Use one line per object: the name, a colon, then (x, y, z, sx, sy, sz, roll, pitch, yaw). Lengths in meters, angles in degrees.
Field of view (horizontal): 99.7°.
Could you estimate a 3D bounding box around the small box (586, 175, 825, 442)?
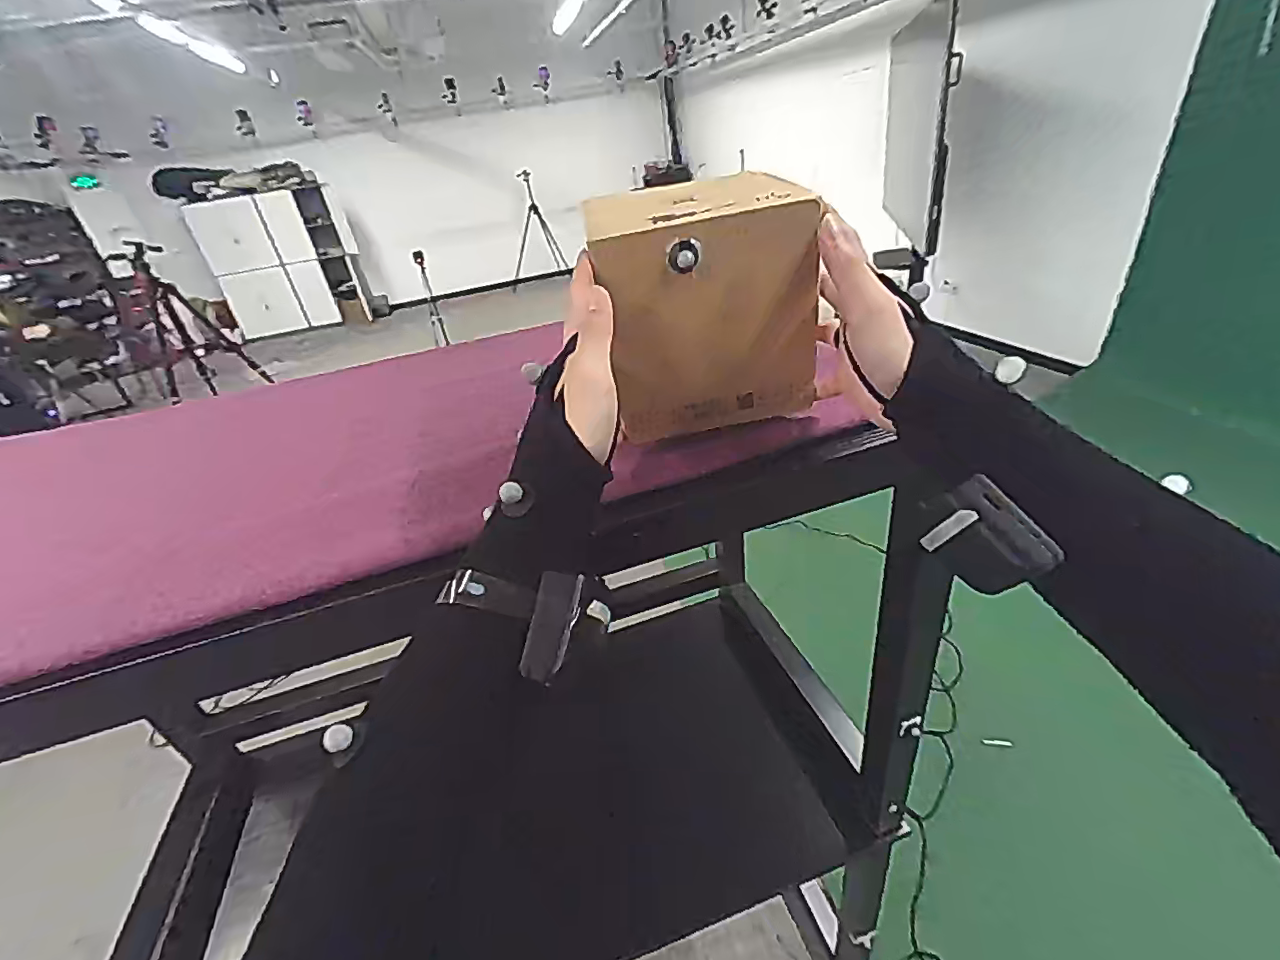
small box: (0.049, -0.156, 0.479, 0.168, 0.176, 0.179, -11, 35, 0)
